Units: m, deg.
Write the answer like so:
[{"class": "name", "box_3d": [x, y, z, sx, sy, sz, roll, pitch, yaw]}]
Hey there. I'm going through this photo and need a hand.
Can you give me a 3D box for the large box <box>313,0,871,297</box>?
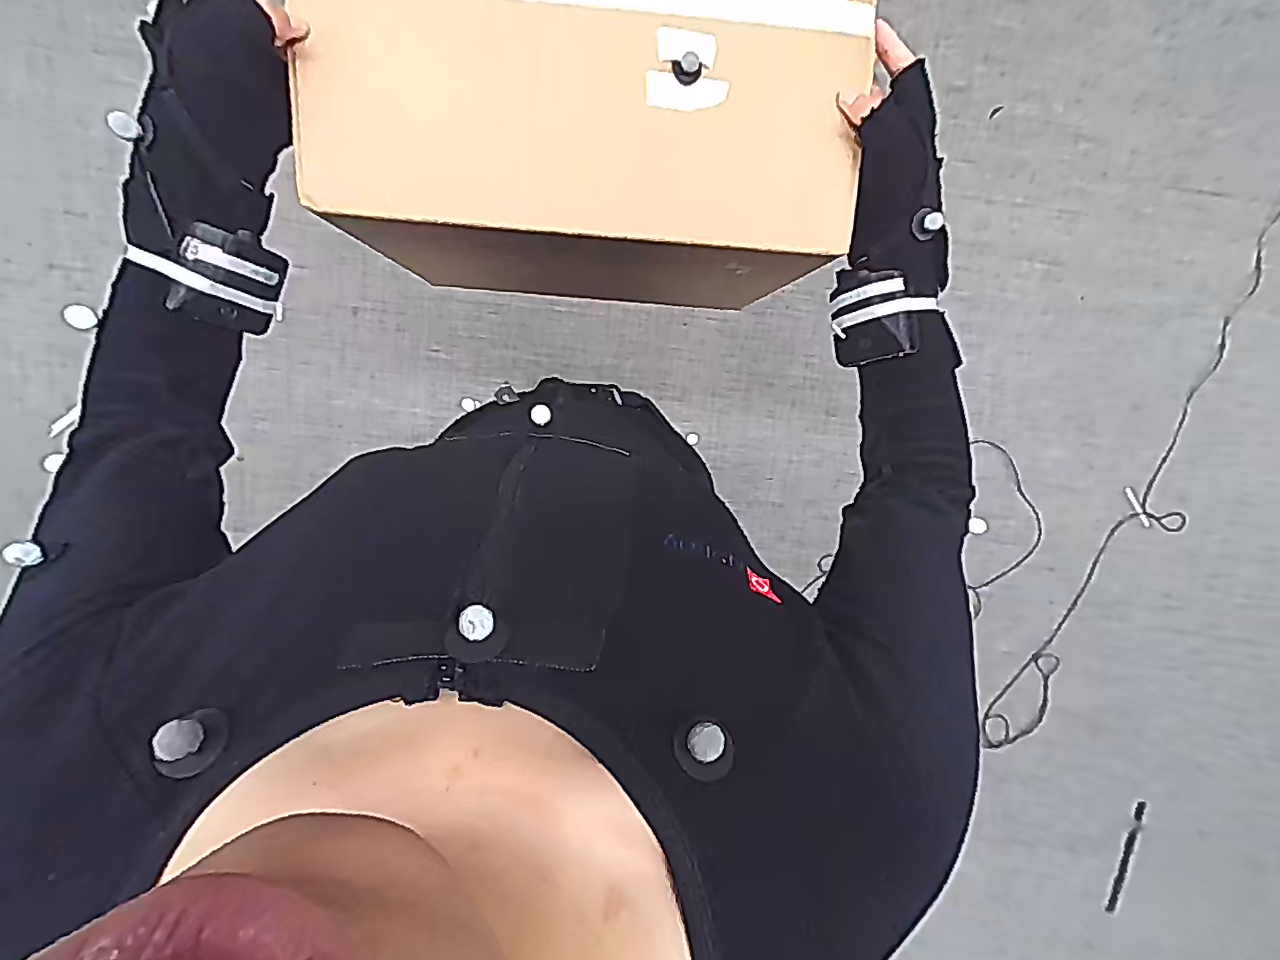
[{"class": "large box", "box_3d": [-0.041, -0.371, 0.532, 0.408, 0.320, 0.320, 2, 100, -6]}]
